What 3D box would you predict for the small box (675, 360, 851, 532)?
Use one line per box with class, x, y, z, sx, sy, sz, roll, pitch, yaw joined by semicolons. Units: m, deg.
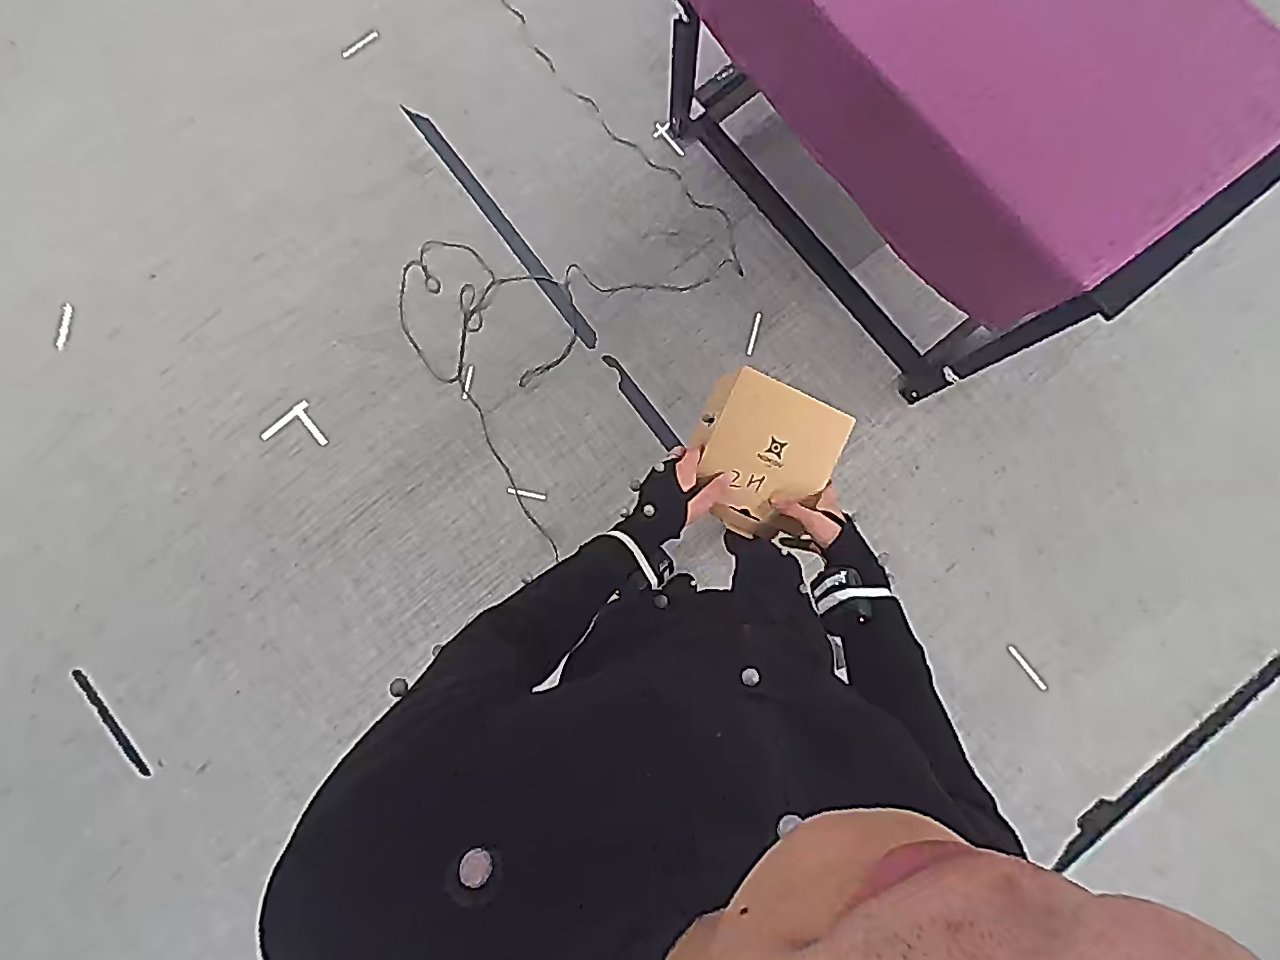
small box;0.160;-0.048;0.772;0.168;0.176;0.179;24;92;-5
